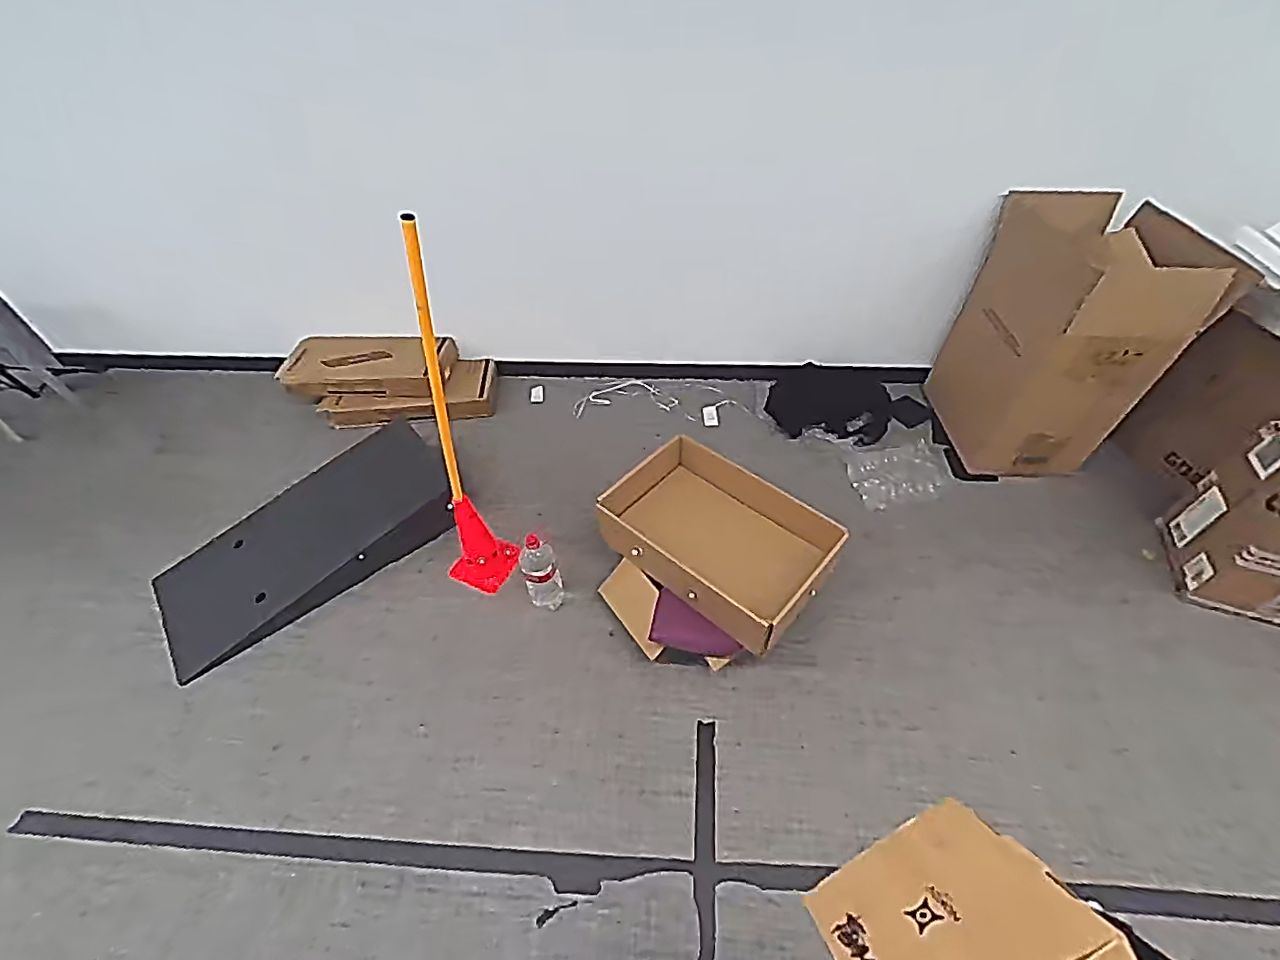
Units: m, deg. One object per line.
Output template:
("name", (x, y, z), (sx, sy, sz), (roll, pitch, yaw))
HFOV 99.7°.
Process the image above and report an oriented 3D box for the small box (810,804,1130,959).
("small box", (0.278, 0.423, 0.440), (0.179, 0.168, 0.176), (-28, 90, -6))
